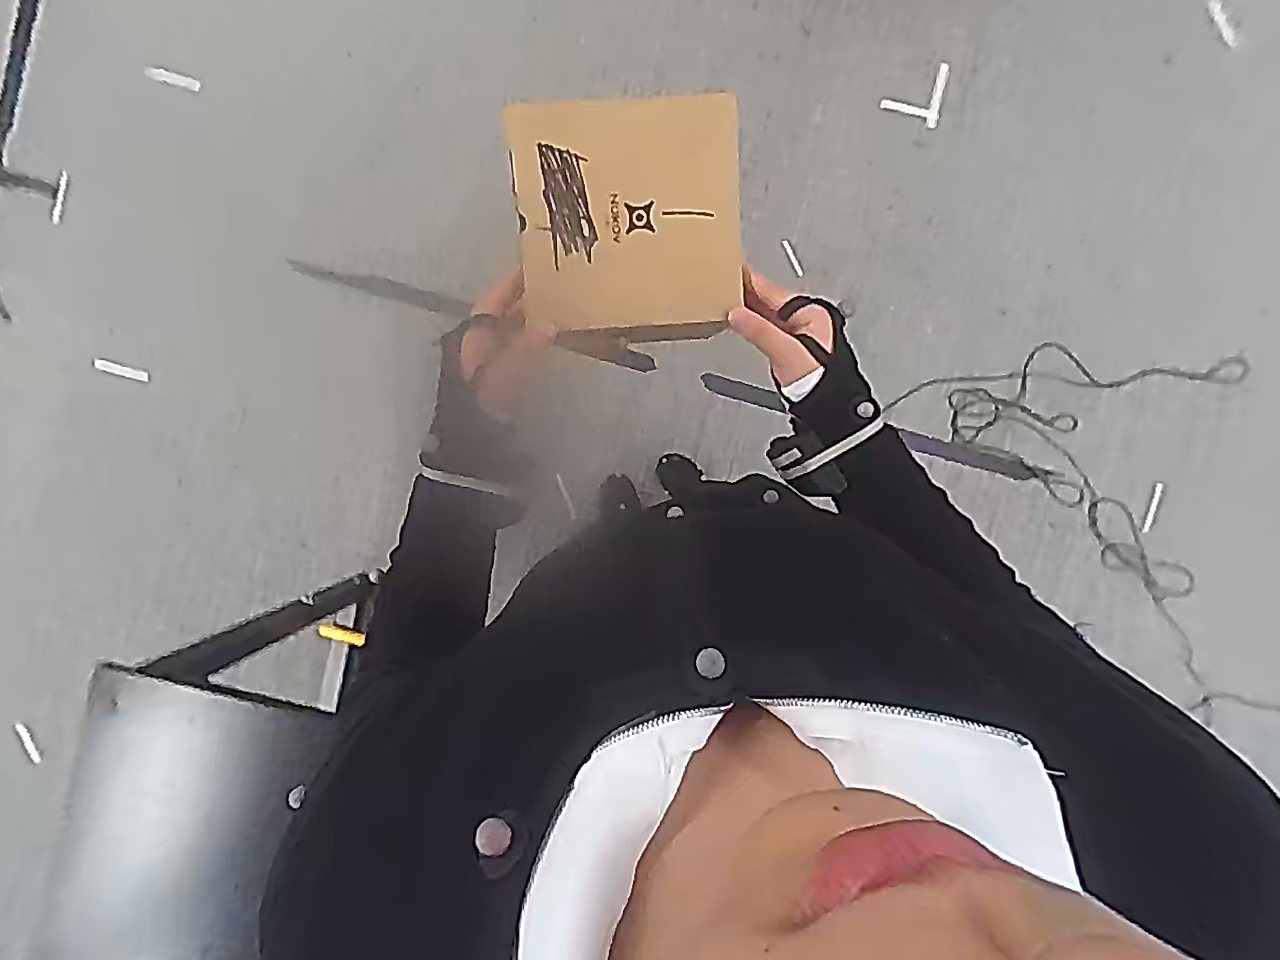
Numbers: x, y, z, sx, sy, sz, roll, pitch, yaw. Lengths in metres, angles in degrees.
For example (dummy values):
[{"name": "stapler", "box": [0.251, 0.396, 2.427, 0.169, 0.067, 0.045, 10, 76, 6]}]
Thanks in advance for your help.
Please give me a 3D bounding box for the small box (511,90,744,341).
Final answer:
[{"name": "small box", "box": [-0.010, -0.221, 0.495, 0.179, 0.176, 0.168, -4, 100, -2]}]
